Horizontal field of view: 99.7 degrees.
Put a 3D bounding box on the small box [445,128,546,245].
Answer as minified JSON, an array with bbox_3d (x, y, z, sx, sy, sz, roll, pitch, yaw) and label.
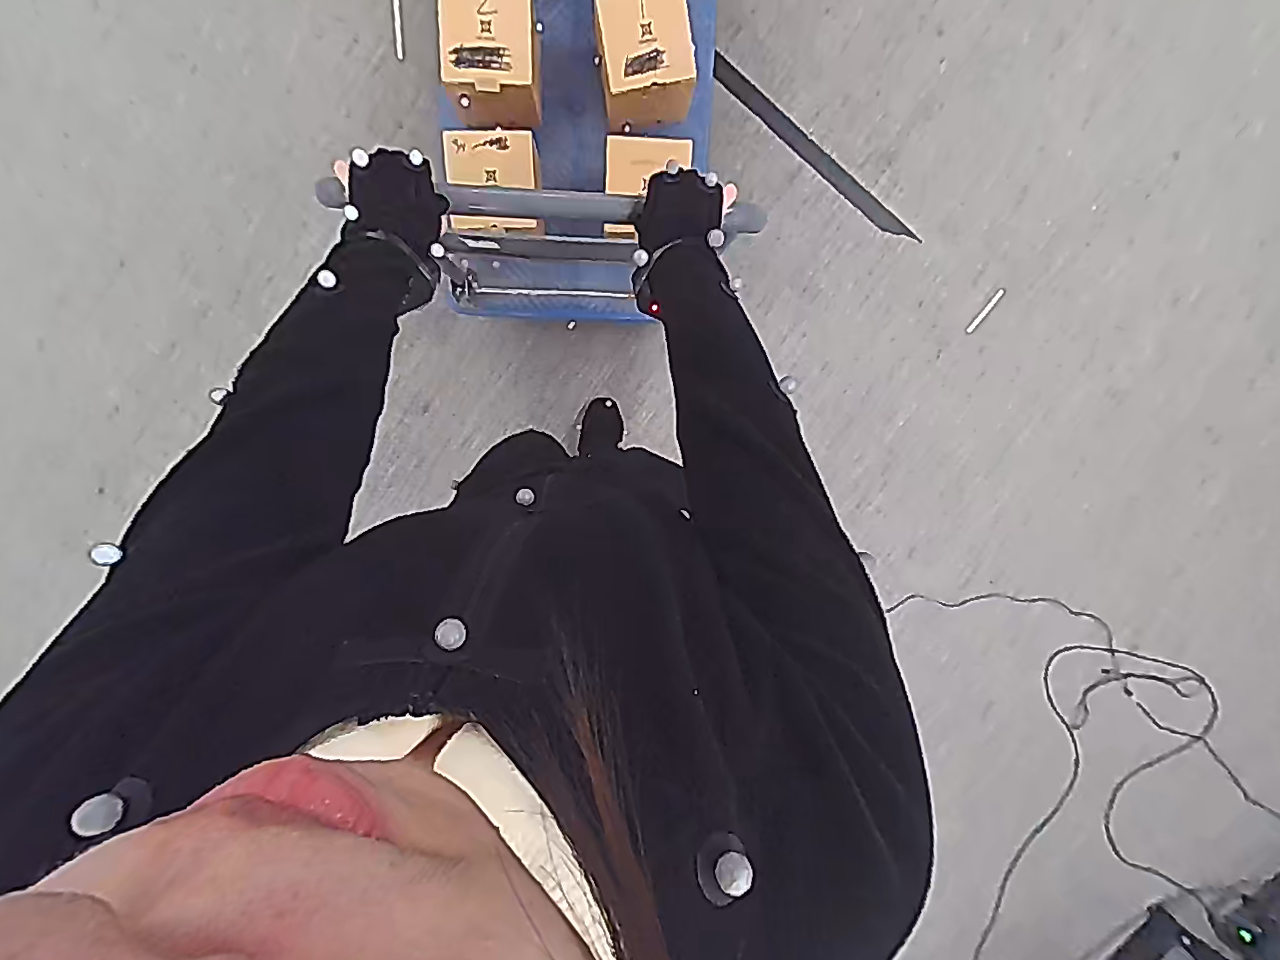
[{"bbox_3d":[-0.285,-0.585,1.100,0.168,0.176,0.179,-2,101,-4],"label":"small box"}]

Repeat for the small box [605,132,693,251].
[{"bbox_3d":[0.012,-0.586,1.121,0.168,0.176,0.179,1,100,-4],"label":"small box"}]

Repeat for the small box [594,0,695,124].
[{"bbox_3d":[0.007,-0.839,1.073,0.168,0.176,0.179,-11,100,-2],"label":"small box"}]
